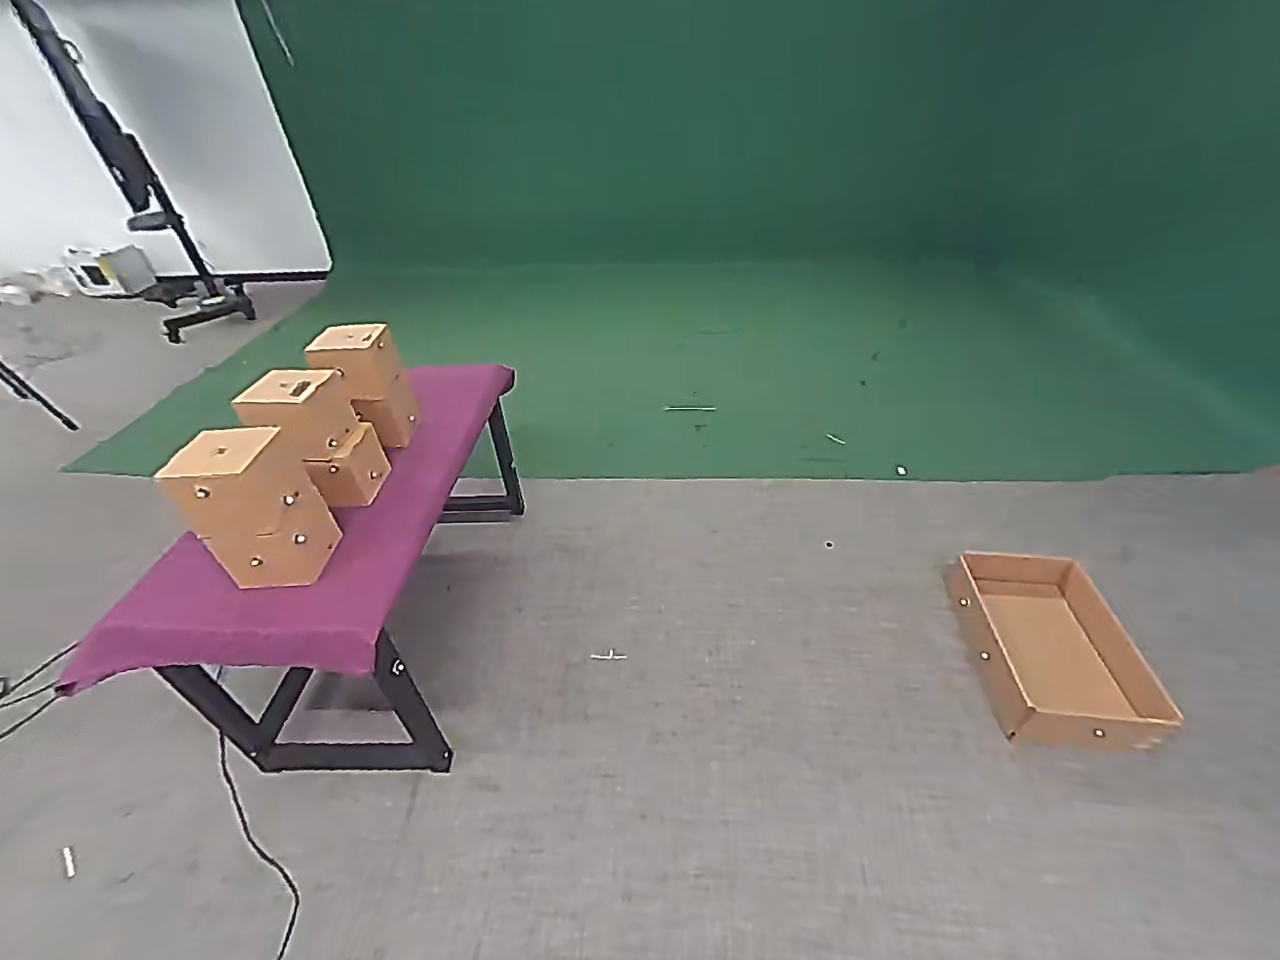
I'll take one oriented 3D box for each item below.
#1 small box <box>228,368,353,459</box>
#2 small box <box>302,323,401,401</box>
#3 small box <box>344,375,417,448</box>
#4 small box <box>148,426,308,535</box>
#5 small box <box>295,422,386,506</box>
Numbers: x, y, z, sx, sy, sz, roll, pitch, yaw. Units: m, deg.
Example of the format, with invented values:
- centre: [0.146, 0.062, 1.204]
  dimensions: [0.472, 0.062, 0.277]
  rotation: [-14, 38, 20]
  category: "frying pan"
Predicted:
- centre: [-0.860, -0.165, 1.355]
  dimensions: [0.179, 0.176, 0.168]
  rotation: [1, 39, 5]
  category: "small box"
- centre: [-0.824, -0.338, 1.565]
  dimensions: [0.179, 0.176, 0.168]
  rotation: [-4, 39, 0]
  category: "small box"
- centre: [-0.817, -0.209, 1.667]
  dimensions: [0.179, 0.176, 0.168]
  rotation: [-2, 39, 0]
  category: "small box"
- centre: [-0.851, 0.003, 1.140]
  dimensions: [0.179, 0.176, 0.168]
  rotation: [-2, 39, 1]
  category: "small box"
- centre: [-0.823, -0.041, 1.461]
  dimensions: [0.179, 0.176, 0.168]
  rotation: [-1, 39, 1]
  category: "small box"
